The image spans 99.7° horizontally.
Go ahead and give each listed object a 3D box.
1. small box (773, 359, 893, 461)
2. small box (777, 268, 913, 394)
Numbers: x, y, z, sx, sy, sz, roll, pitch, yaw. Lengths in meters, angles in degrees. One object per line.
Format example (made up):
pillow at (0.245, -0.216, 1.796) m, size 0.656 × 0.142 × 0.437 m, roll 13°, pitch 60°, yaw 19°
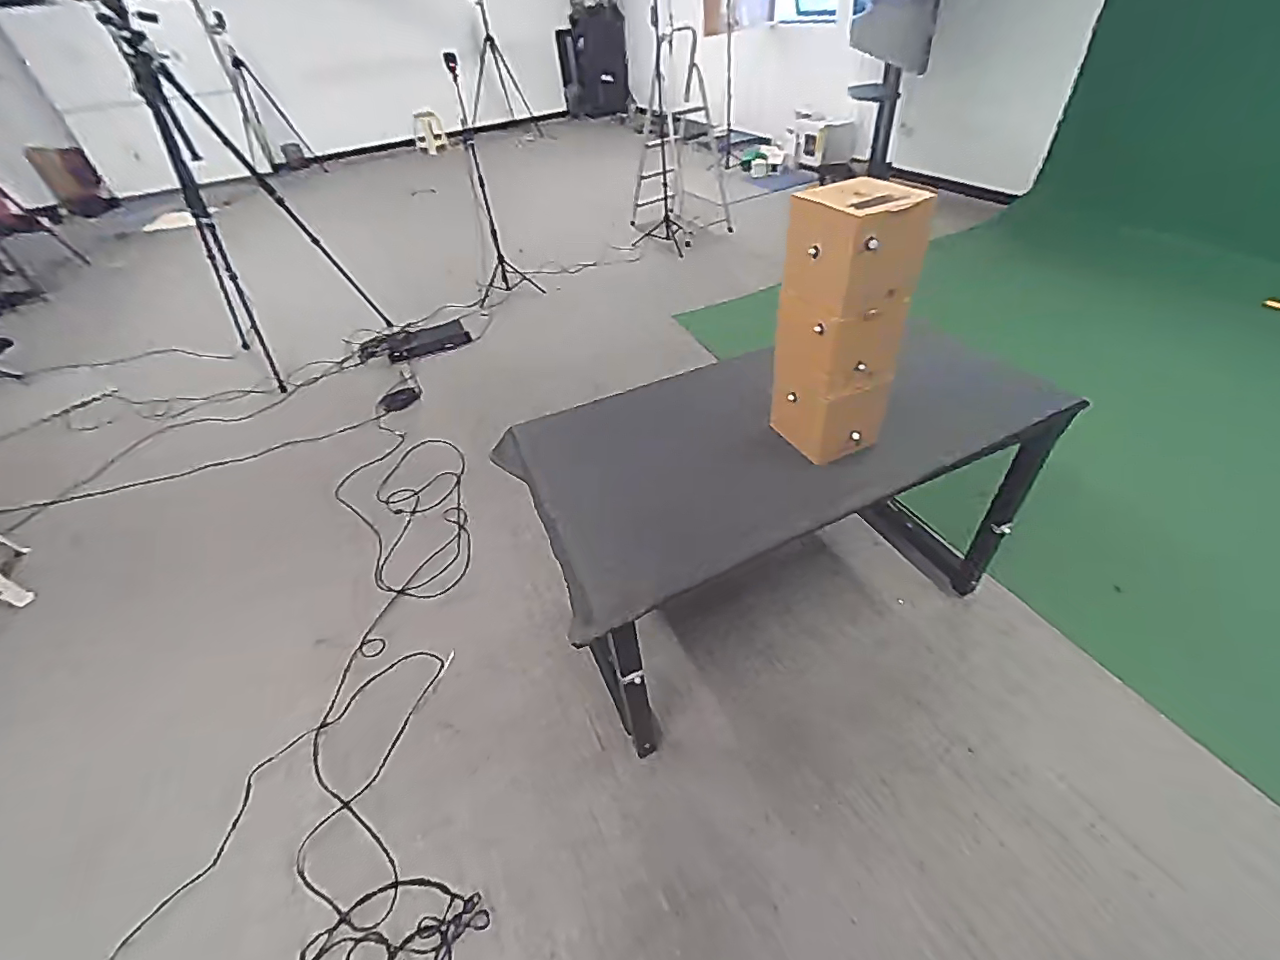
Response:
small box at (0.404, -0.171, 1.168) m, size 0.168 × 0.176 × 0.179 m, roll -20°, pitch 44°, yaw -15°
small box at (0.389, -0.293, 1.063) m, size 0.168 × 0.176 × 0.179 m, roll -20°, pitch 44°, yaw -15°
